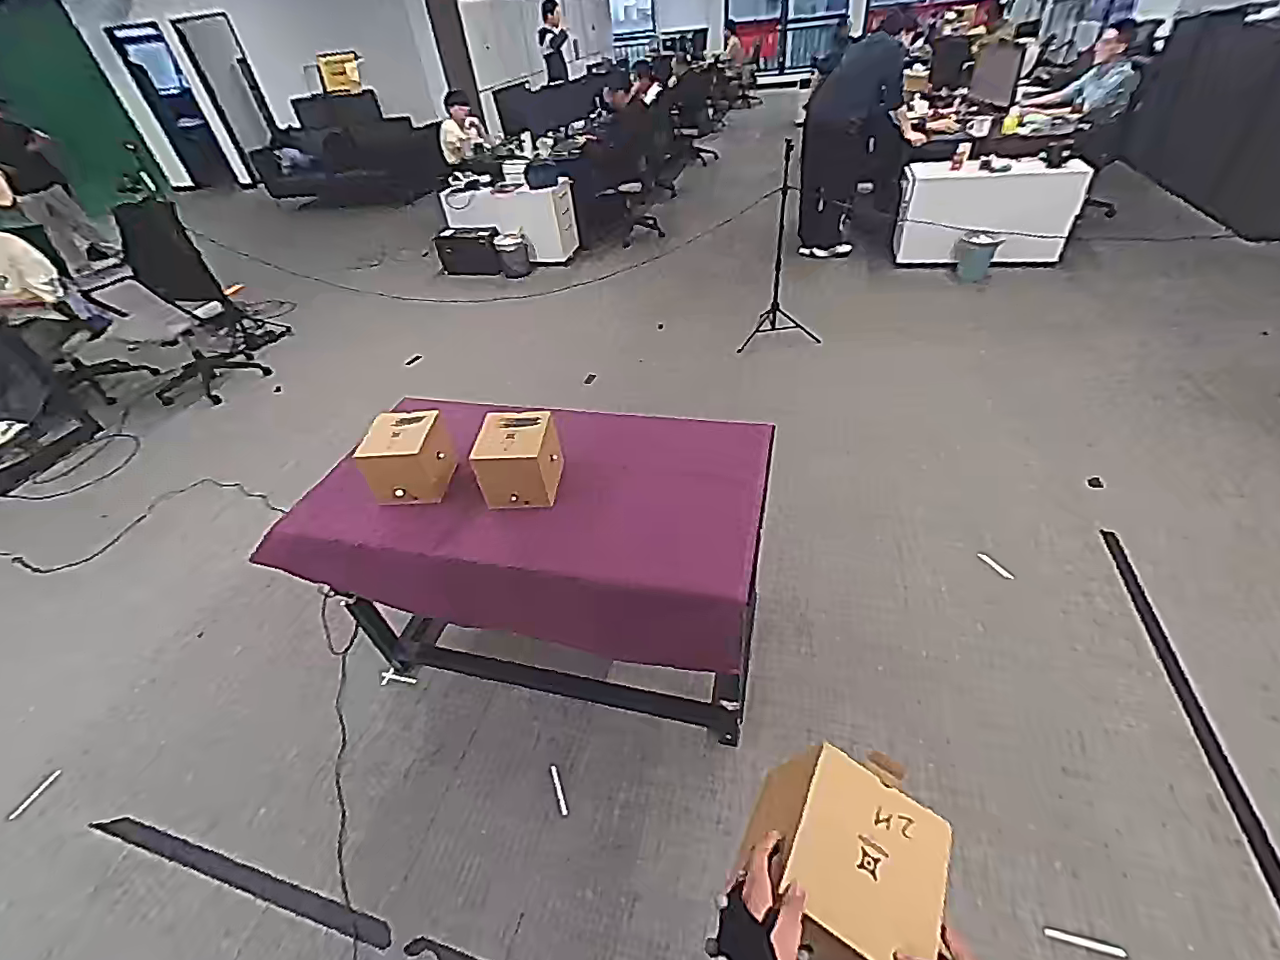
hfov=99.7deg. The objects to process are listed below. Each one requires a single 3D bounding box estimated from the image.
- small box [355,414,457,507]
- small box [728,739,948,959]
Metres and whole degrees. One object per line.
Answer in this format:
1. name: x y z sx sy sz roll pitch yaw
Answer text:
1. small box: -0.593 -0.051 1.398 0.168 0.176 0.179 -4 42 5
2. small box: 0.220 0.448 0.629 0.168 0.176 0.179 31 47 9
